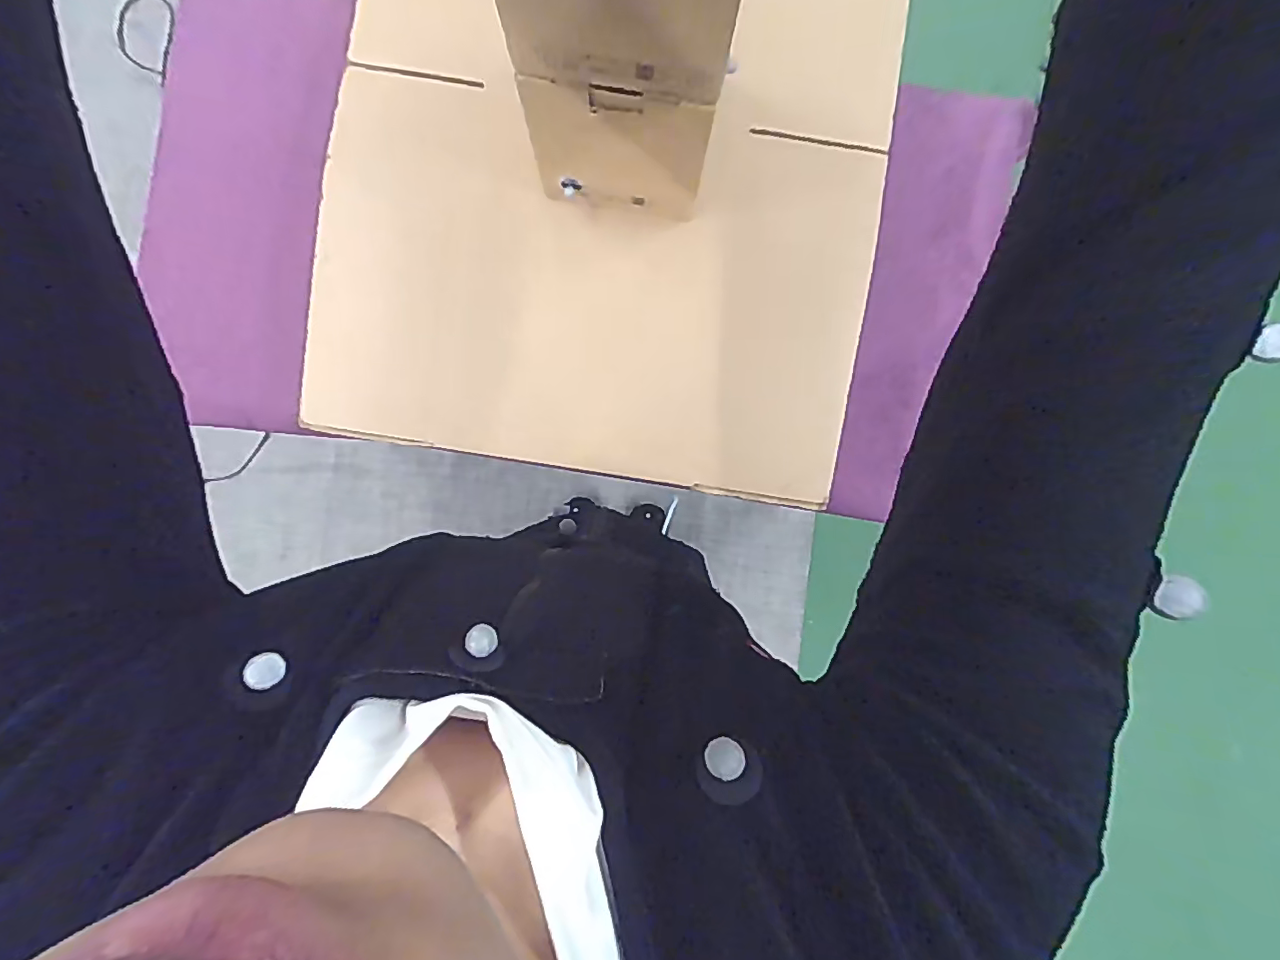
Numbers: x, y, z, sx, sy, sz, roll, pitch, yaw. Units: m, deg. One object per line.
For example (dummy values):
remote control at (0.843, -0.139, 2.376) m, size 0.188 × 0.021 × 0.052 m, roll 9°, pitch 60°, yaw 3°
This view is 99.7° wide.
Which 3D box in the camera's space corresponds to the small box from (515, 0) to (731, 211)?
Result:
small box at (-0.008, -0.390, 0.517) m, size 0.168 × 0.176 × 0.179 m, roll 9°, pitch 86°, yaw -1°
